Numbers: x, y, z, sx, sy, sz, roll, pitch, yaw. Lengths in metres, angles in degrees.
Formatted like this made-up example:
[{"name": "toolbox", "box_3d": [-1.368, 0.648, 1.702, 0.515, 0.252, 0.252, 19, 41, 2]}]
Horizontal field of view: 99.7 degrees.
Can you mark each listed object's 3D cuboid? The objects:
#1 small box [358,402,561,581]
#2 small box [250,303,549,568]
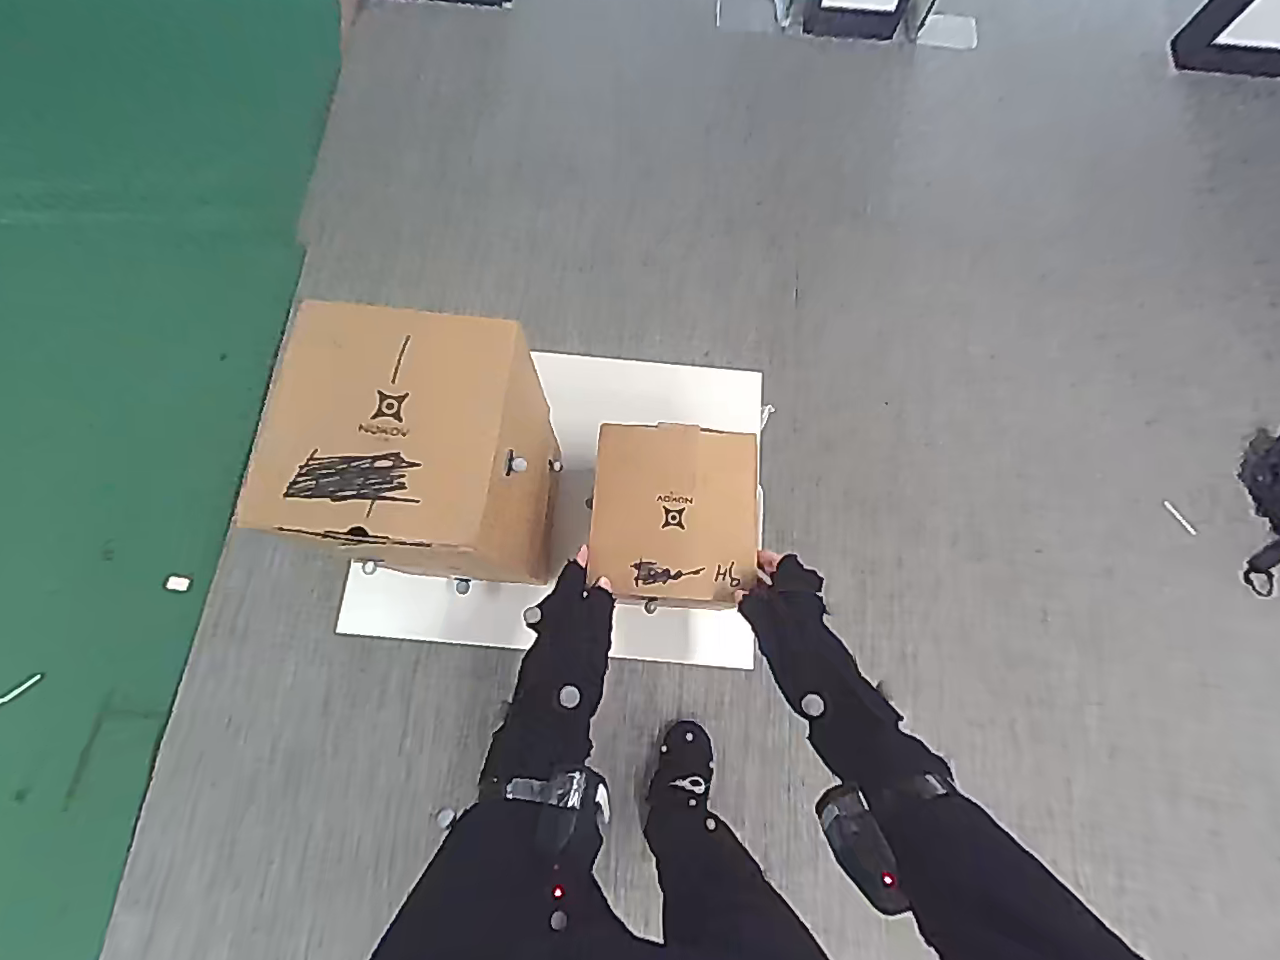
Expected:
[{"name": "small box", "box_3d": [-0.185, 0.017, 0.614, 0.168, 0.176, 0.179, 3, 76, 0]}, {"name": "small box", "box_3d": [-0.181, -0.024, 0.471, 0.168, 0.176, 0.179, 6, 73, 1]}]
